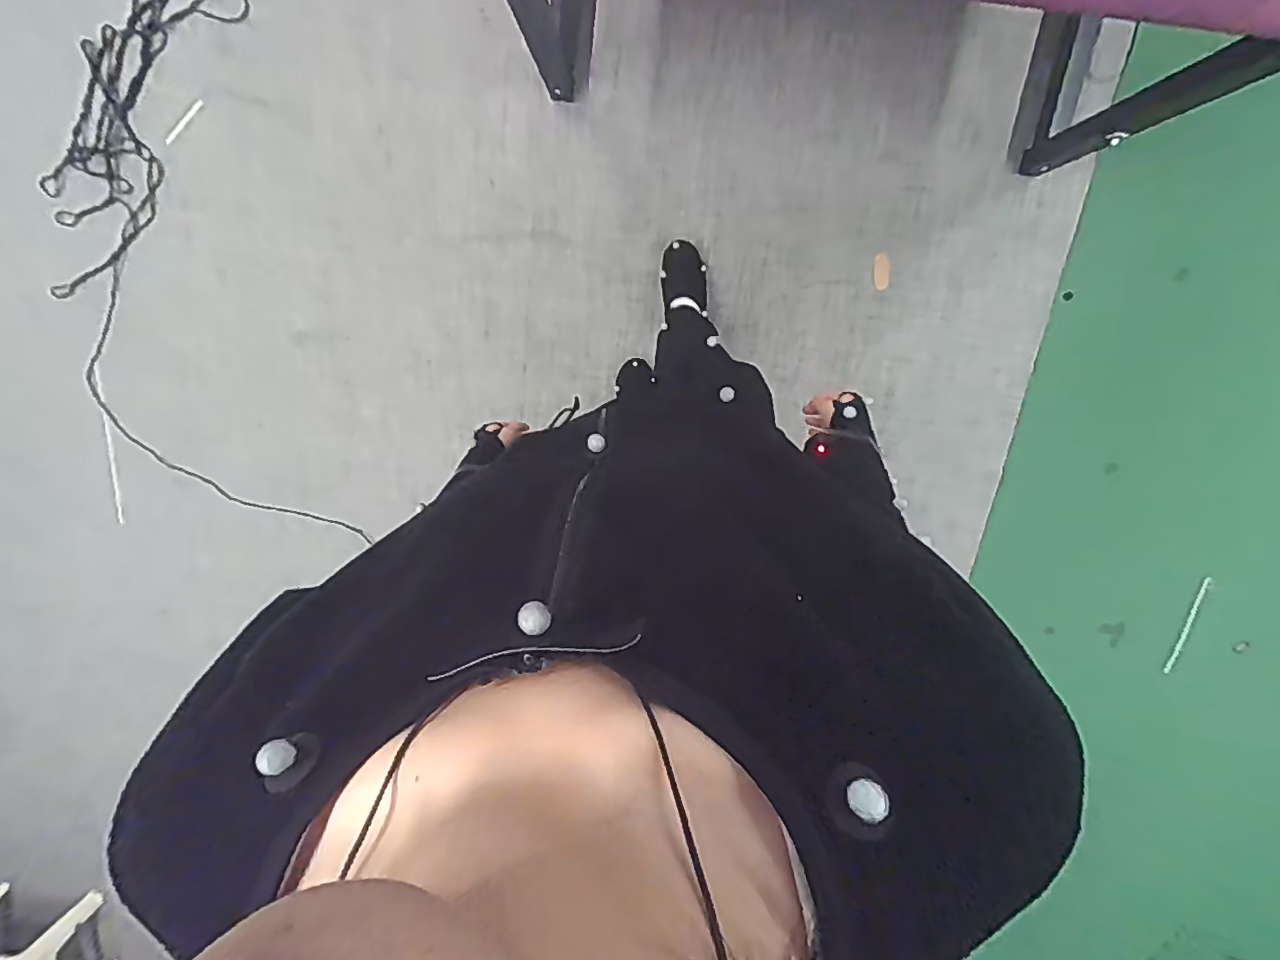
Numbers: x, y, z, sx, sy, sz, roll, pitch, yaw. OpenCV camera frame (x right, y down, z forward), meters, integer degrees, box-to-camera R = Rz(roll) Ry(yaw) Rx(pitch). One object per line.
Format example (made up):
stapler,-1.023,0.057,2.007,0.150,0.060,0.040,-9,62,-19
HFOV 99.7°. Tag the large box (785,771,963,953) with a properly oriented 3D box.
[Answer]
large box,0.682,1.131,1.626,0.408,0.320,0.320,-7,104,2
